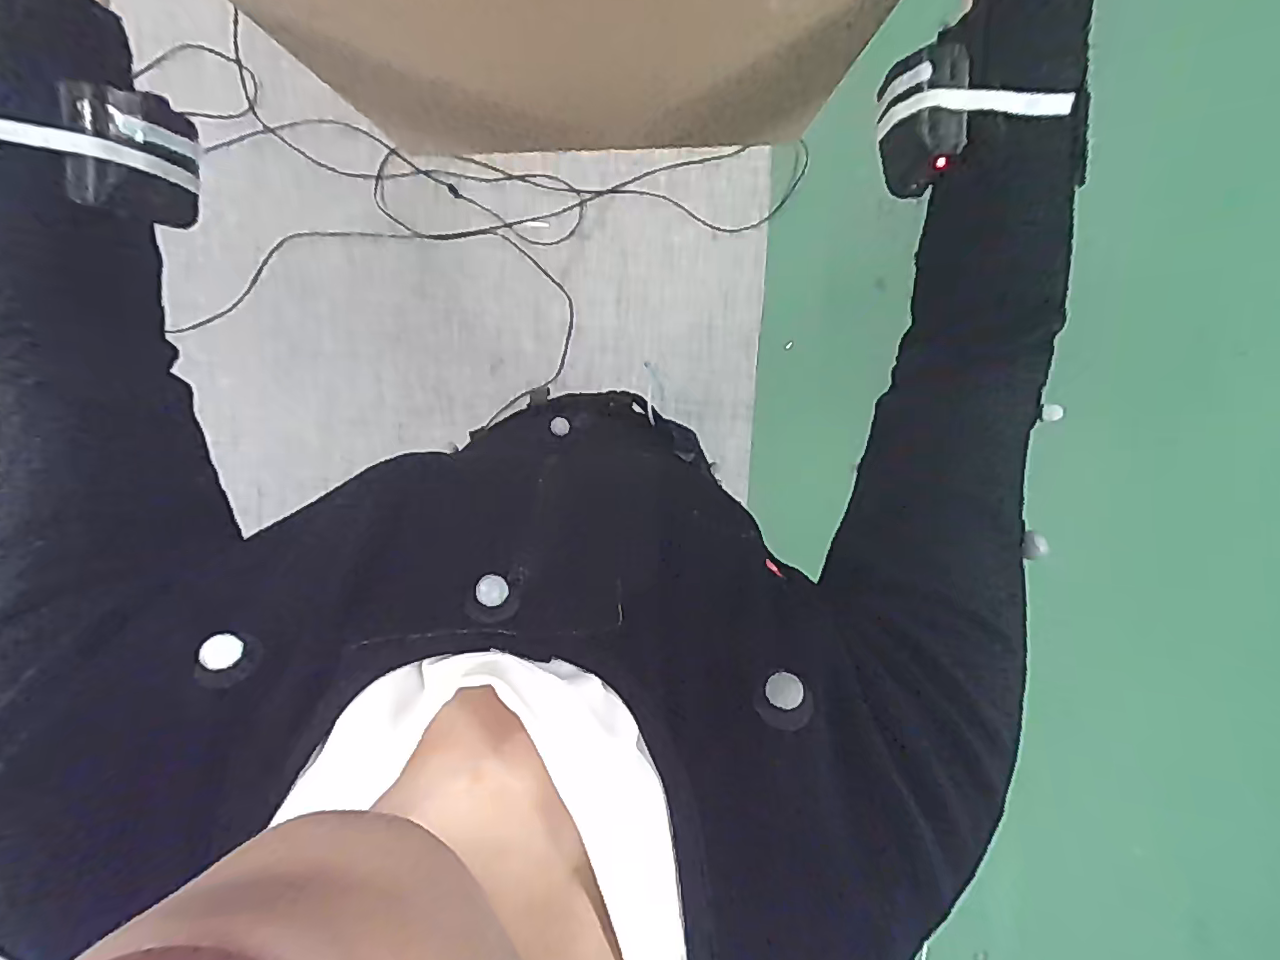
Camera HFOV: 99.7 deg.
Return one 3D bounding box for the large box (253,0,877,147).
[{"bbox_3d":[-0.047,-0.460,0.370,0.408,0.320,0.320,-2,104,0],"label":"large box"}]
